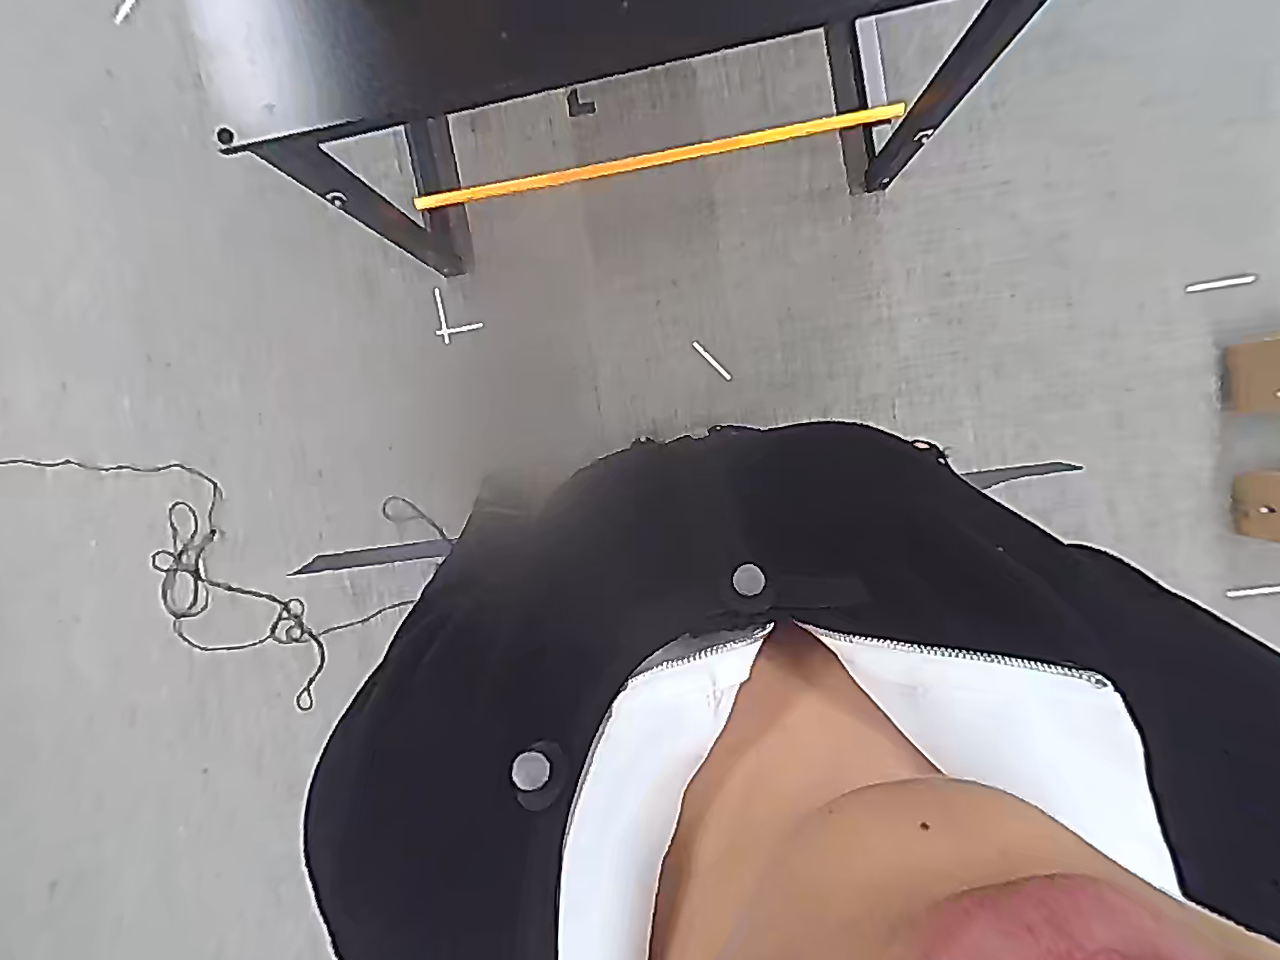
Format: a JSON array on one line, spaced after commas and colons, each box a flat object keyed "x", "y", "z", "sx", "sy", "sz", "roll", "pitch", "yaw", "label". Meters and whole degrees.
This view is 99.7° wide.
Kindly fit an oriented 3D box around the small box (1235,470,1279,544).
[{"x": 1.617, "y": 0.066, "z": 1.316, "sx": 0.179, "sy": 0.176, "sz": 0.168, "roll": -7, "pitch": 95, "yaw": 6, "label": "small box"}]

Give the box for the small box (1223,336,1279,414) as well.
[{"x": 1.559, "y": -0.256, "z": 1.284, "sx": 0.168, "sy": 0.176, "sz": 0.179, "roll": -11, "pitch": 94, "yaw": 5, "label": "small box"}]
